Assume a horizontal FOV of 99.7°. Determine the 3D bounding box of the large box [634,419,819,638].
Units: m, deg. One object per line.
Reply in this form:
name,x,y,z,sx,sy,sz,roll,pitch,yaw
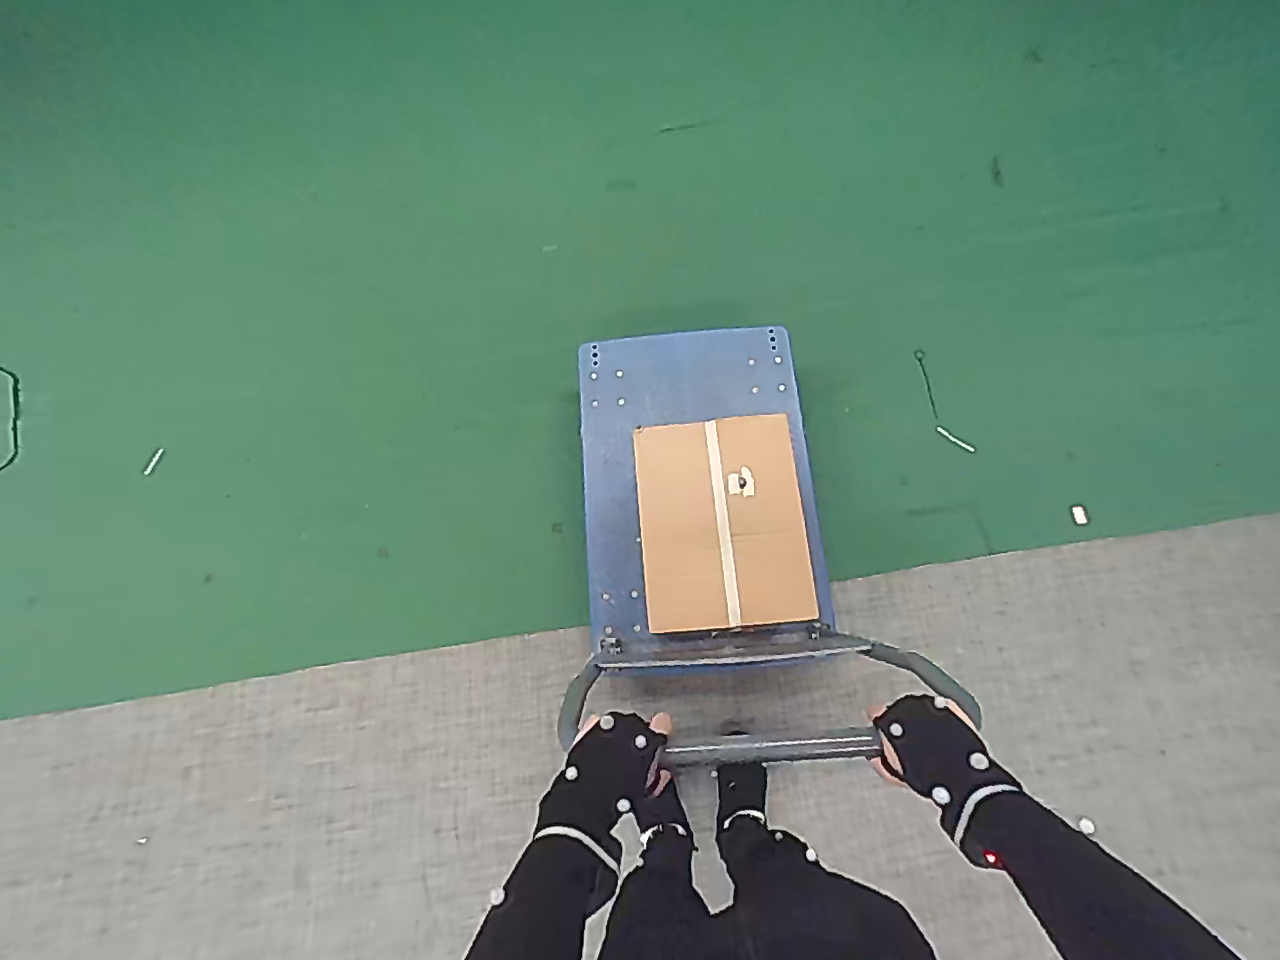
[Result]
large box,0.167,0.122,1.182,0.320,0.320,0.408,-5,74,2
